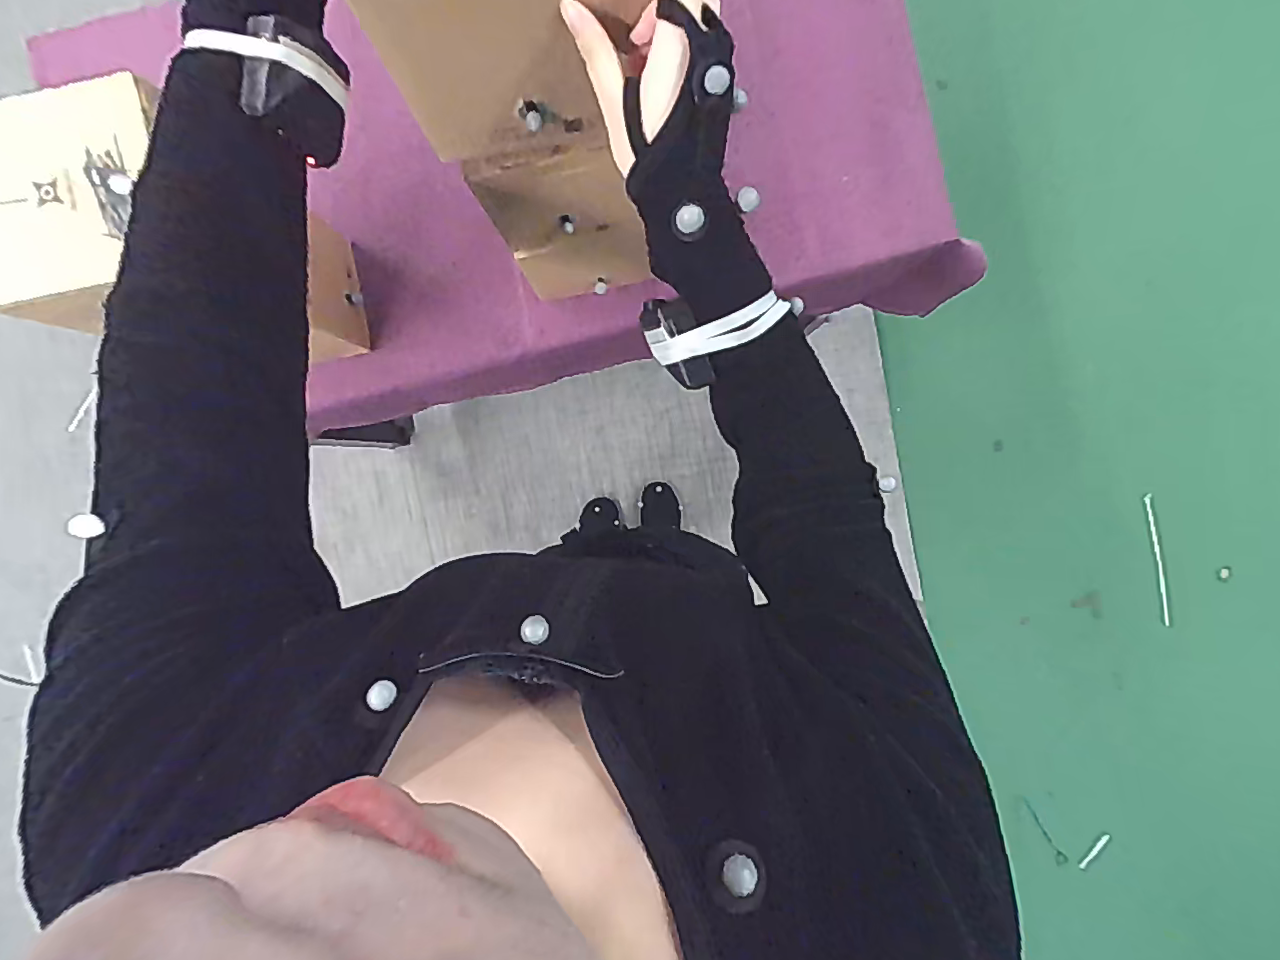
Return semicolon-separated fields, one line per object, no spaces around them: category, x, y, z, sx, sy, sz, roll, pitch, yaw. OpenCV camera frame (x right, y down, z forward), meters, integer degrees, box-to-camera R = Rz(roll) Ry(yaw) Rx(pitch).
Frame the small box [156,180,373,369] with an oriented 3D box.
small box;-0.481;-0.248;0.695;0.179;0.176;0.168;-11;93;0

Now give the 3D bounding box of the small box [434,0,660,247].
small box;-0.079;-0.356;0.523;0.168;0.176;0.179;-11;93;1

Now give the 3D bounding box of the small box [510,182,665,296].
small box;-0.073;-0.352;0.687;0.179;0.176;0.168;-12;92;0

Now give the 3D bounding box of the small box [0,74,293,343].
small box;-0.478;-0.244;0.531;0.179;0.176;0.168;-12;93;2
